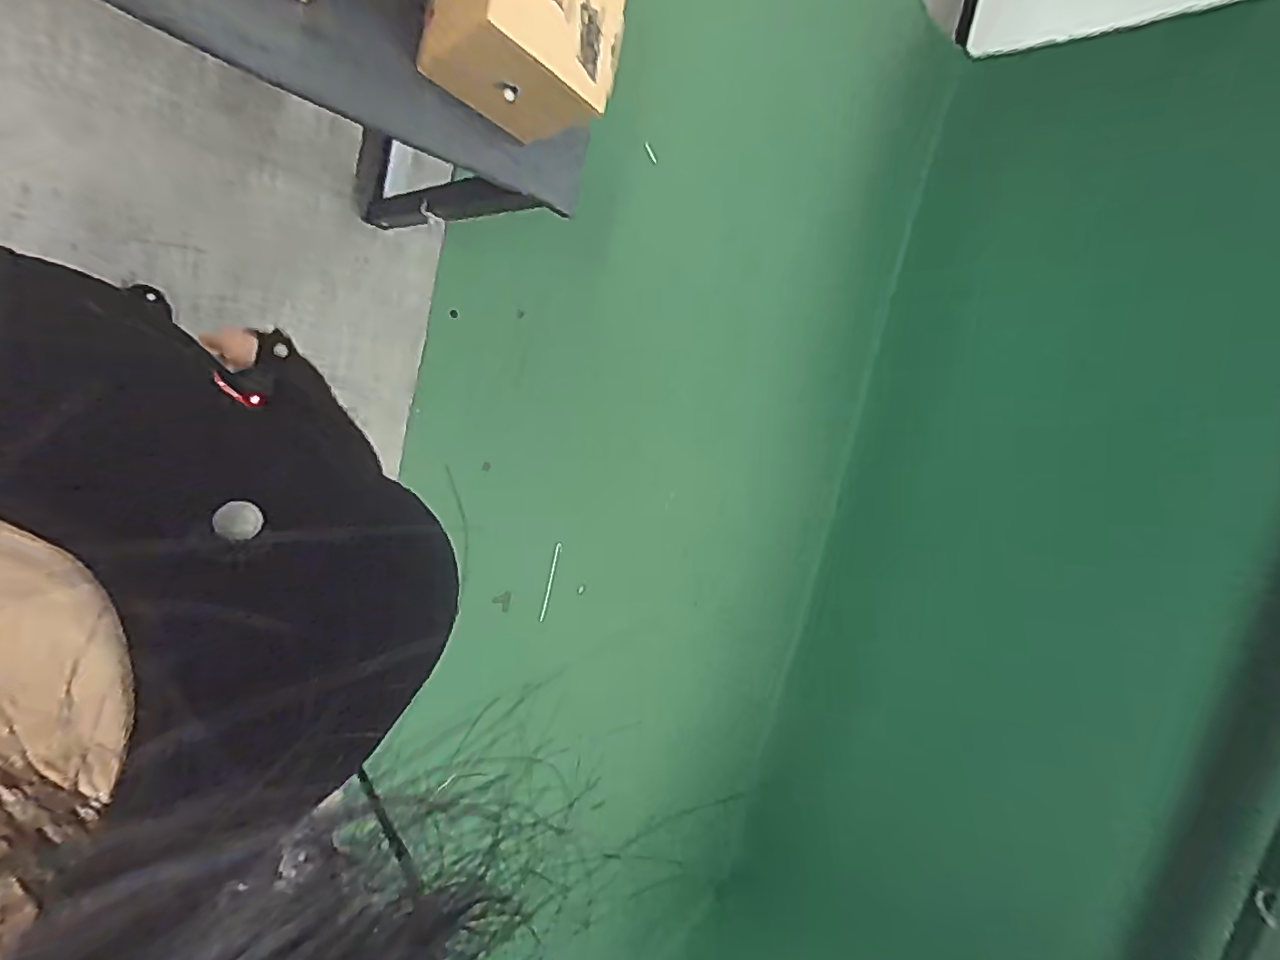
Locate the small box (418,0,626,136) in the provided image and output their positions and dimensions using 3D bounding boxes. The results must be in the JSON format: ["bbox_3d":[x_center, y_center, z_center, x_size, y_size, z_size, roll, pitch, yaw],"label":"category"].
[{"bbox_3d":[-0.148,-0.568,0.680,0.179,0.176,0.168,9,94,-47],"label":"small box"}]
